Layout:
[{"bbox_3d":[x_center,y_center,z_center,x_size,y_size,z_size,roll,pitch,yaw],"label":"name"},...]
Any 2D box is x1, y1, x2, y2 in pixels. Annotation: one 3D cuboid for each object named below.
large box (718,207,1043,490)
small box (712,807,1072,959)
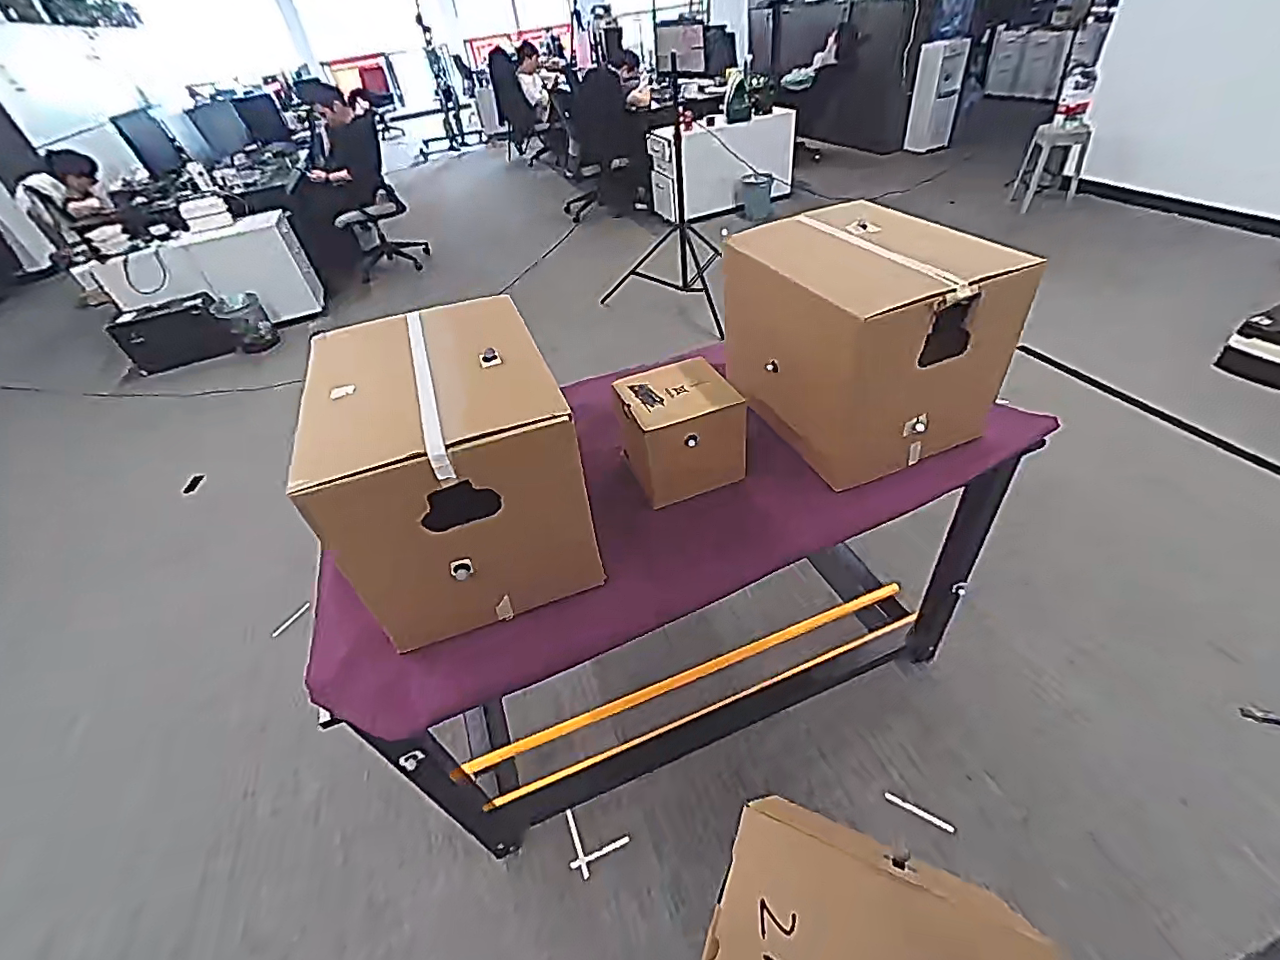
[{"bbox_3d":[0.374,-0.250,0.961,0.320,0.320,0.408,-19,41,-12],"label":"large box"},{"bbox_3d":[0.147,0.335,0.355,0.179,0.176,0.168,12,67,27],"label":"small box"}]
